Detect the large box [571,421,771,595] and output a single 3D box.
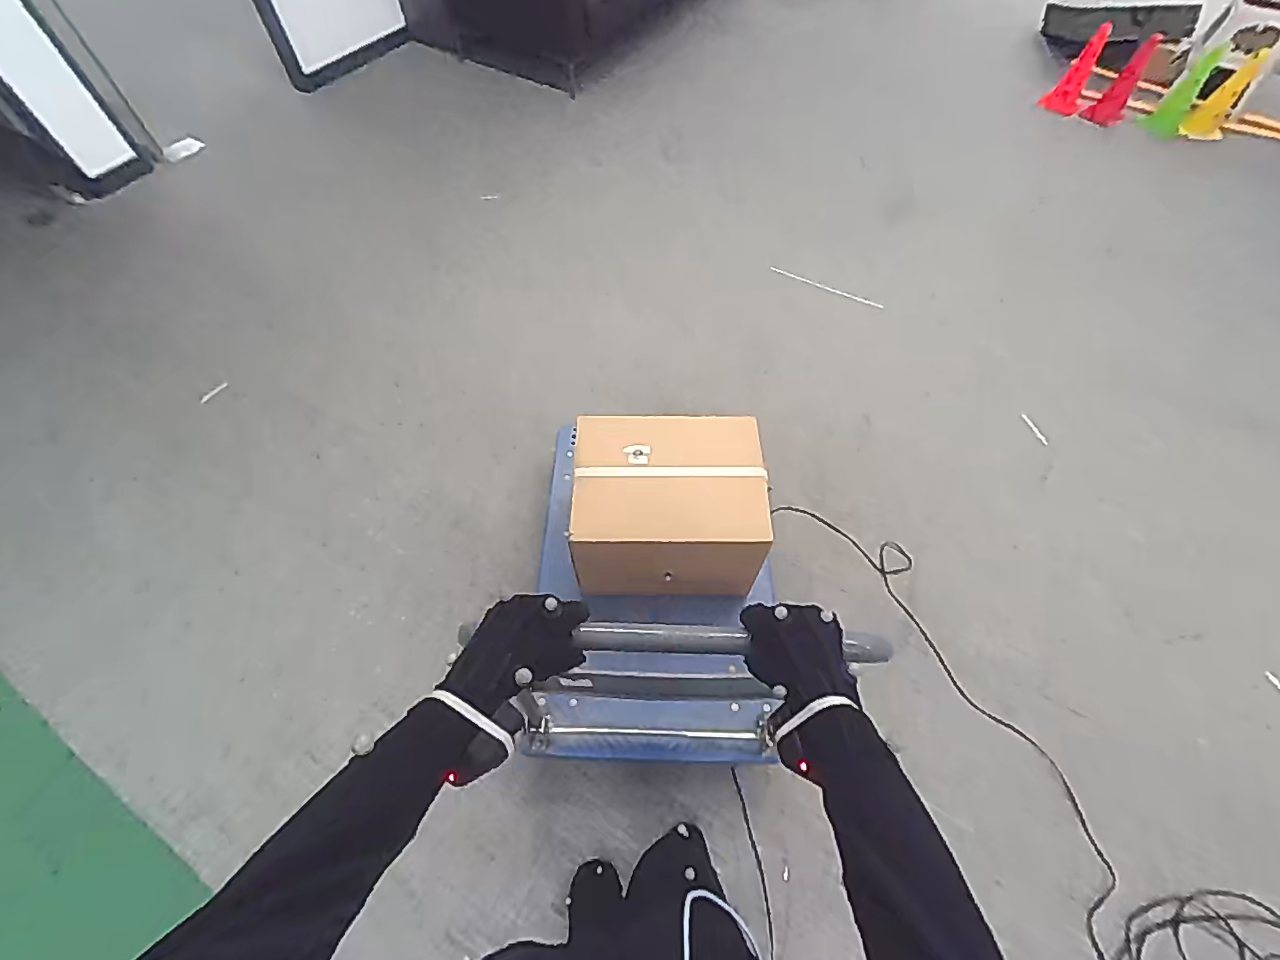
[{"bbox_3d":[0.063,0.077,1.273,0.408,0.320,0.320,0,58,0],"label":"large box"}]
